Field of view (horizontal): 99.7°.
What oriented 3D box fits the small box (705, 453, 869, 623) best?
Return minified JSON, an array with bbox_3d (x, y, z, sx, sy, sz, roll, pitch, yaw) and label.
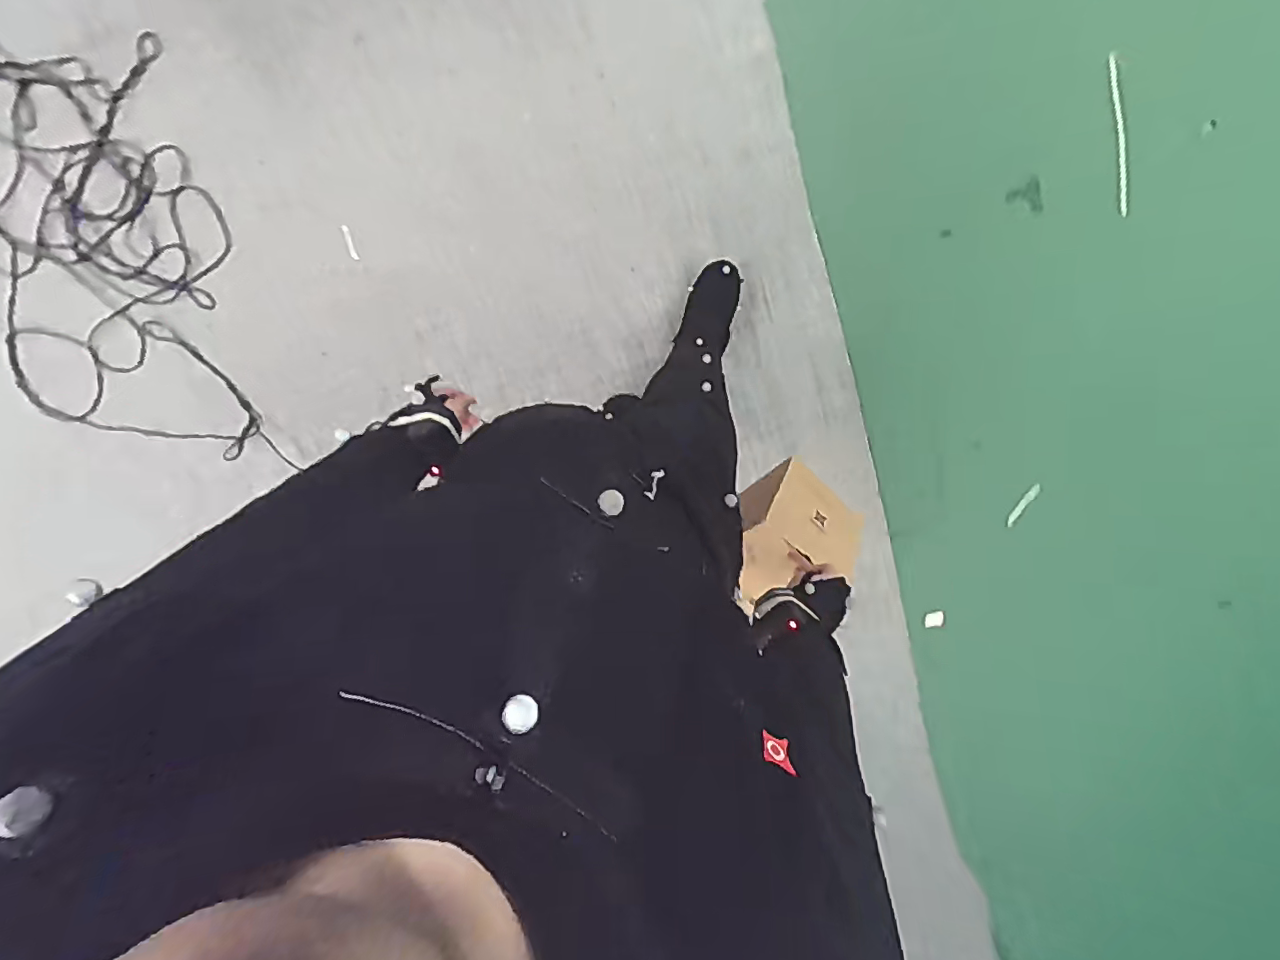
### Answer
[{"bbox_3d":[0.228,0.097,0.857,0.168,0.179,0.176,40,136,-5],"label":"small box"}]
